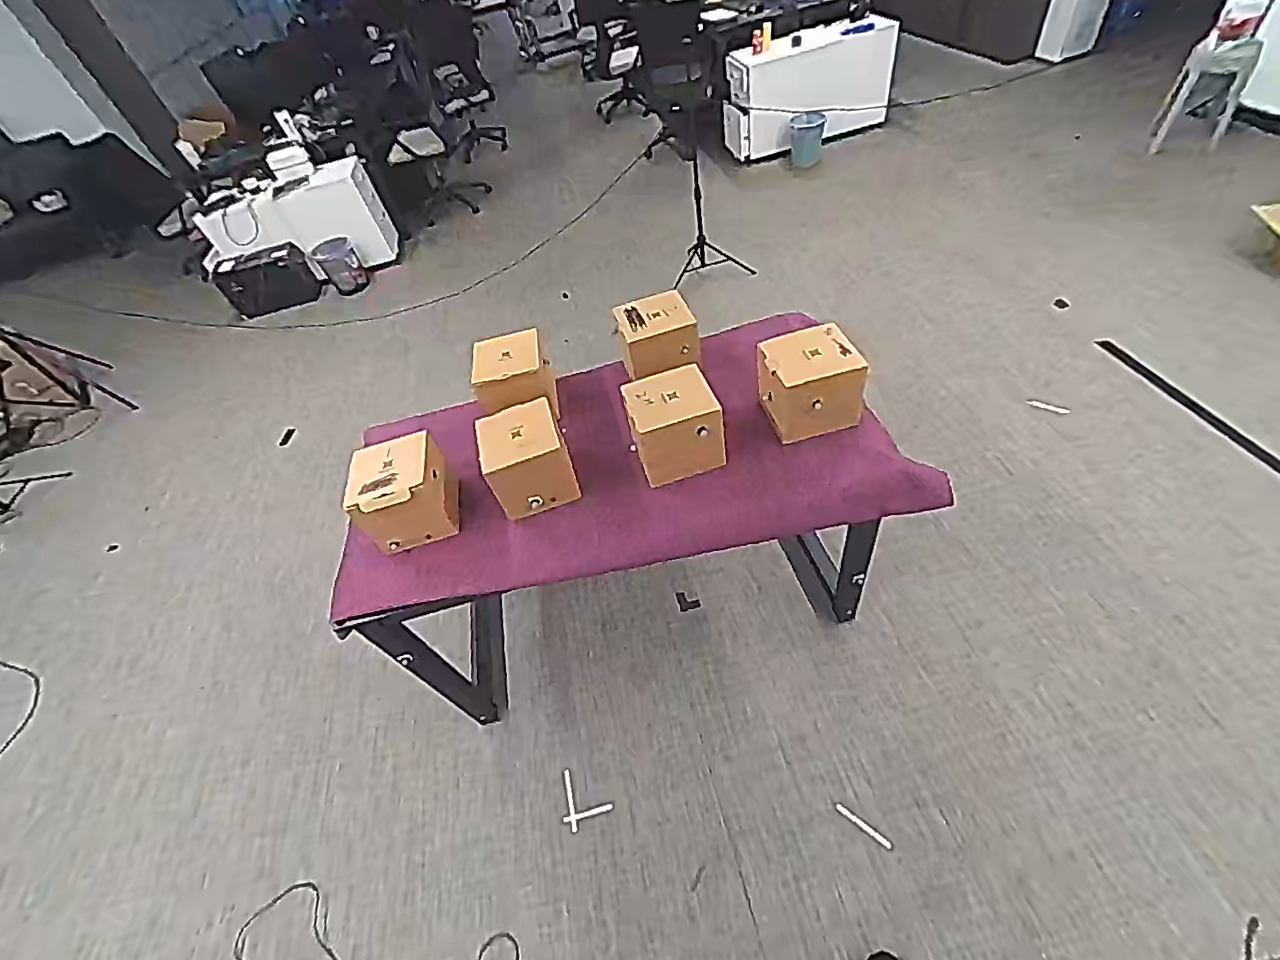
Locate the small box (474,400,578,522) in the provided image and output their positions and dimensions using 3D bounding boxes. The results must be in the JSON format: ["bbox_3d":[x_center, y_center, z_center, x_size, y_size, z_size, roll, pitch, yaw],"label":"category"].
[{"bbox_3d":[-0.248,-0.039,1.186,0.168,0.176,0.179,-20,48,-3],"label":"small box"}]

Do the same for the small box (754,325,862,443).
[{"bbox_3d":[0.363,-0.205,1.185,0.179,0.176,0.168,-16,49,1],"label":"small box"}]

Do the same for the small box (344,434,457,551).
[{"bbox_3d":[-0.512,0.034,1.181,0.168,0.176,0.179,-17,47,-2],"label":"small box"}]

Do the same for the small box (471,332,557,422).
[{"bbox_3d":[-0.316,-0.242,1.371,0.168,0.176,0.179,-14,49,0],"label":"small box"}]

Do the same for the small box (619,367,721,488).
[{"bbox_3d":[0.069,-0.111,1.173,0.179,0.176,0.168,-18,47,-2],"label":"small box"}]
